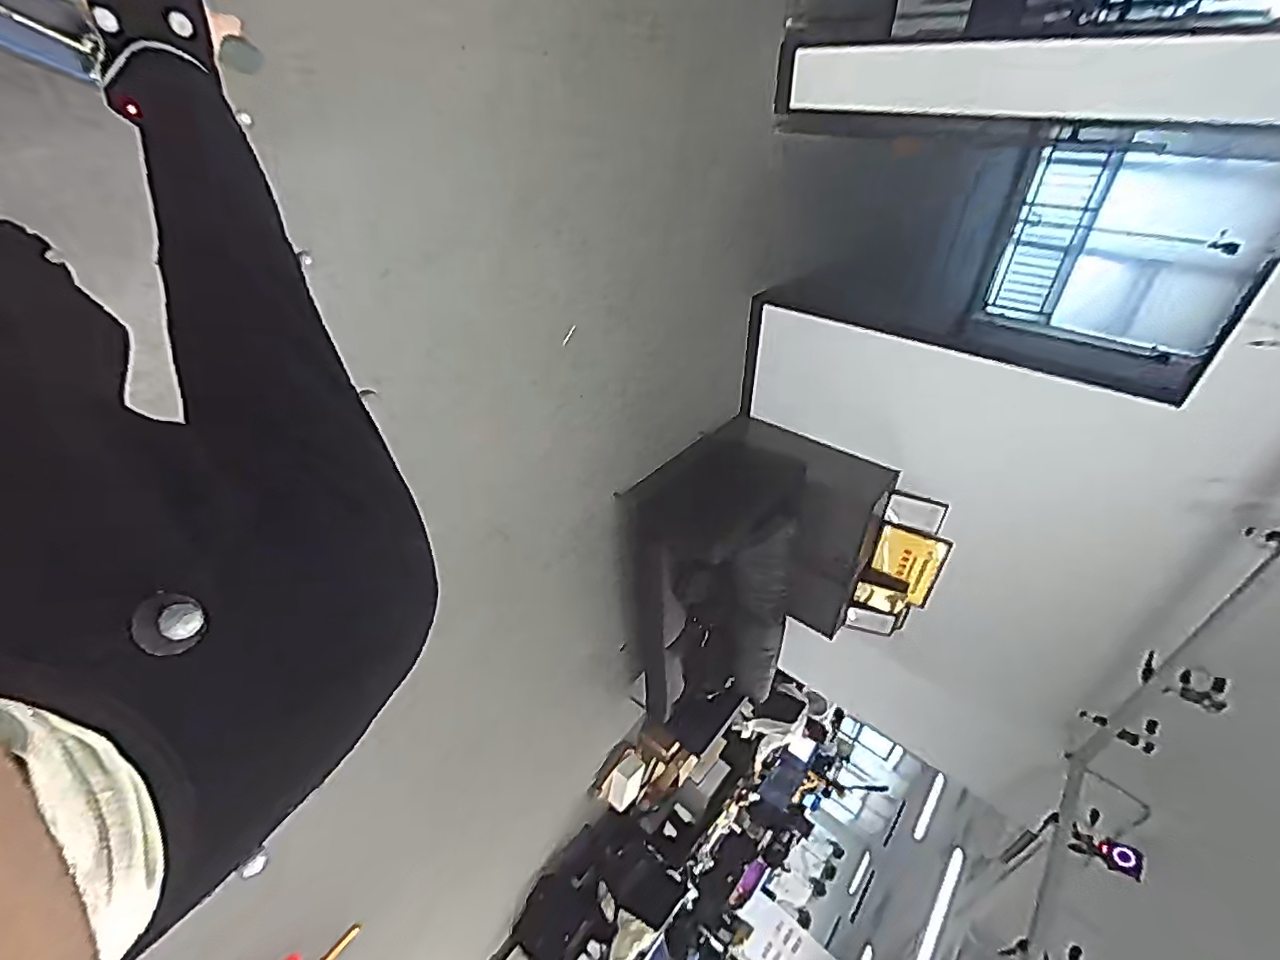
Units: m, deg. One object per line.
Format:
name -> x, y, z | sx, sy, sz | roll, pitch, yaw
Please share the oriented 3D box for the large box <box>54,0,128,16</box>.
large box -> -0.832, -0.892, 0.652 | 0.320, 0.320, 0.408 | -1, 113, -56
